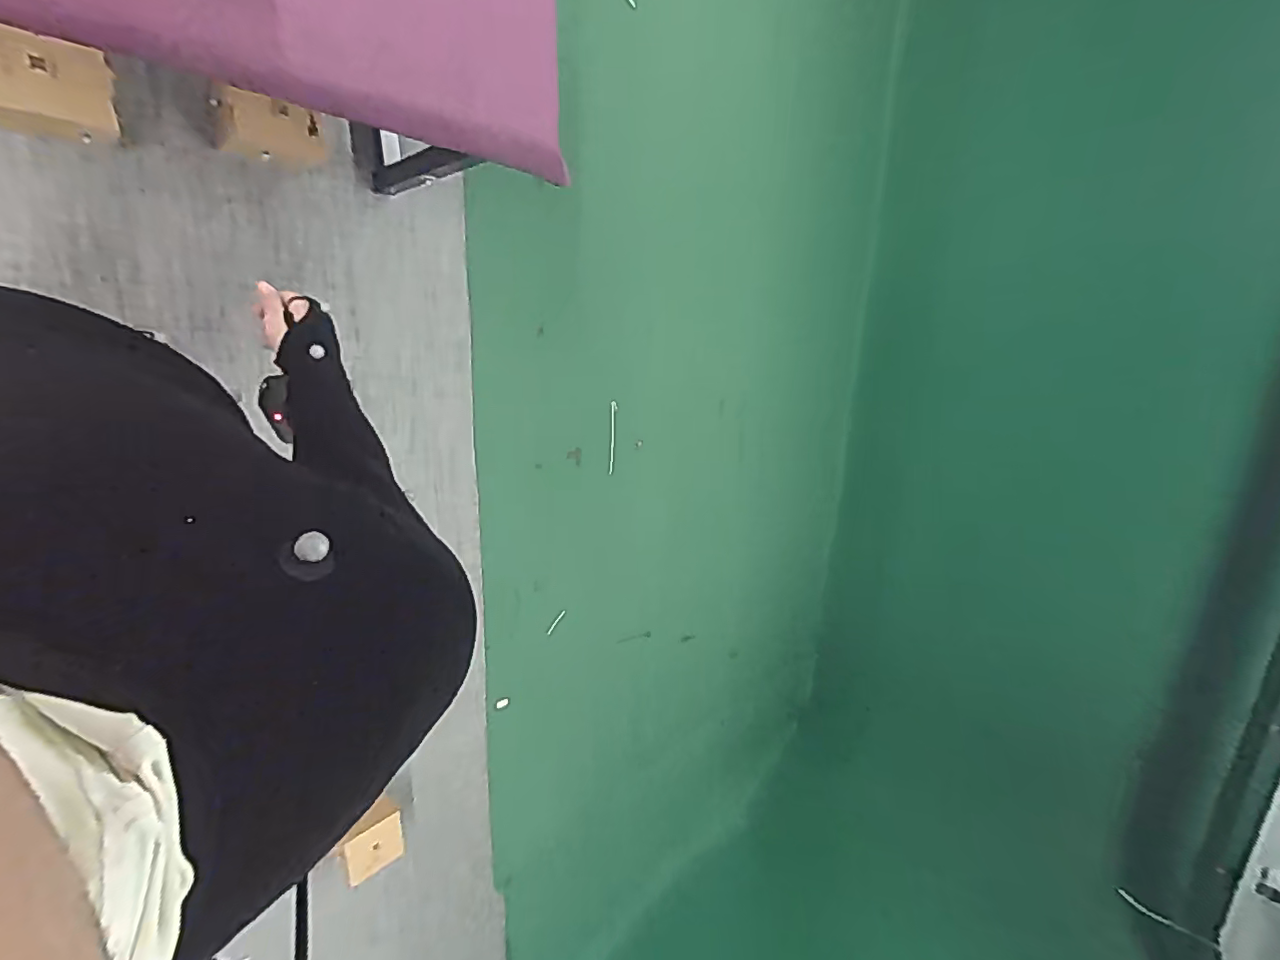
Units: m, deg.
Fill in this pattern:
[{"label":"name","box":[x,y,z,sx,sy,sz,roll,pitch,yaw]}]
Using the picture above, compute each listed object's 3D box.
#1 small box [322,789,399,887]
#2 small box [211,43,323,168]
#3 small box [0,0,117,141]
[{"label":"small box","box":[-0.898,1.132,1.733,0.168,0.176,0.179,-14,112,-44]},{"label":"small box","box":[-0.835,-0.820,1.207,0.179,0.176,0.168,-10,109,-45]},{"label":"small box","box":[-1.079,-0.731,0.967,0.179,0.176,0.168,-13,110,-44]}]
